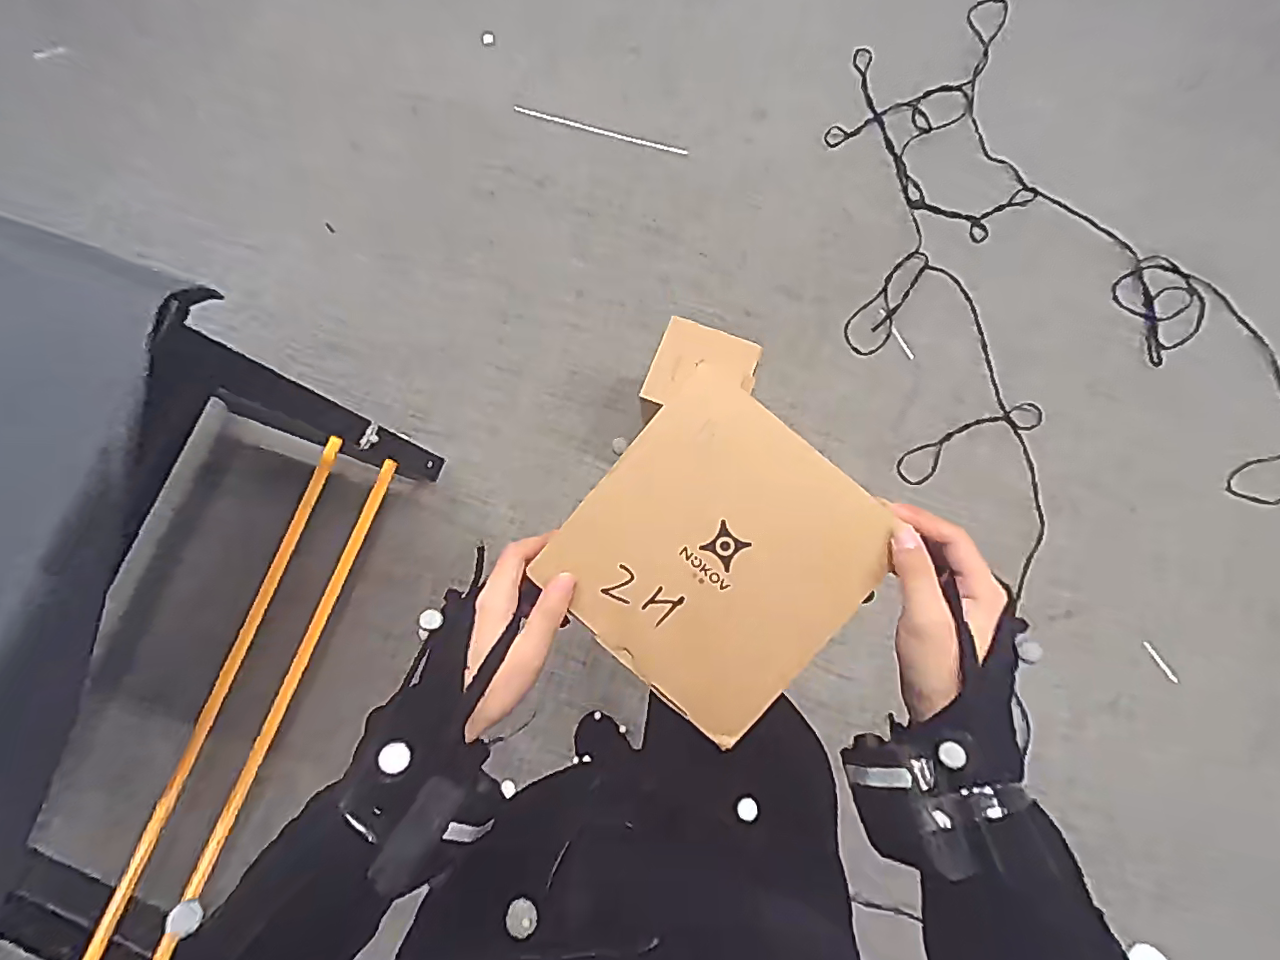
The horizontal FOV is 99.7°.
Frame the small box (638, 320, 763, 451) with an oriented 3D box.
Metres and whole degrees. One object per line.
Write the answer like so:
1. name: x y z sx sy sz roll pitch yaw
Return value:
1. small box: 0.109 -0.167 1.015 0.179 0.176 0.168 21 81 7
